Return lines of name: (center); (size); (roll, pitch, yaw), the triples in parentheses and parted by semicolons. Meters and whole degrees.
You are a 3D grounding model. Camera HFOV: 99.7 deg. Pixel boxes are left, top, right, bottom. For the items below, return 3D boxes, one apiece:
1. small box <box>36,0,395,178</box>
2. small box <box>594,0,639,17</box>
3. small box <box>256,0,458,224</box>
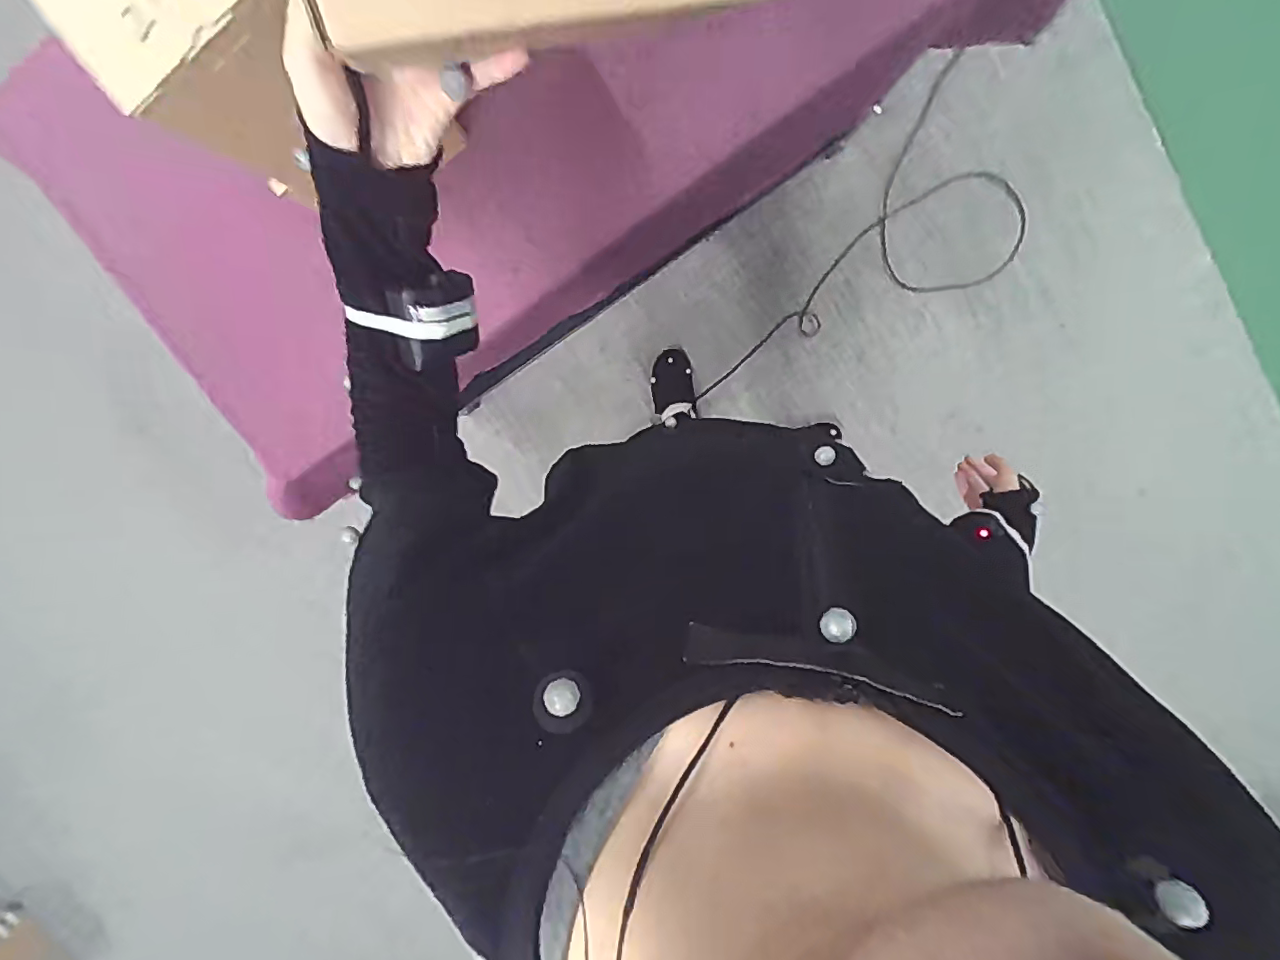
small box: (-0.349, -0.394, 0.443); (0.168, 0.176, 0.179); (-35, 98, 10)
small box: (-0.016, -0.629, 0.536); (0.179, 0.176, 0.168); (-33, 100, 10)
small box: (-0.342, -0.423, 0.606); (0.179, 0.176, 0.168); (-35, 98, 10)
